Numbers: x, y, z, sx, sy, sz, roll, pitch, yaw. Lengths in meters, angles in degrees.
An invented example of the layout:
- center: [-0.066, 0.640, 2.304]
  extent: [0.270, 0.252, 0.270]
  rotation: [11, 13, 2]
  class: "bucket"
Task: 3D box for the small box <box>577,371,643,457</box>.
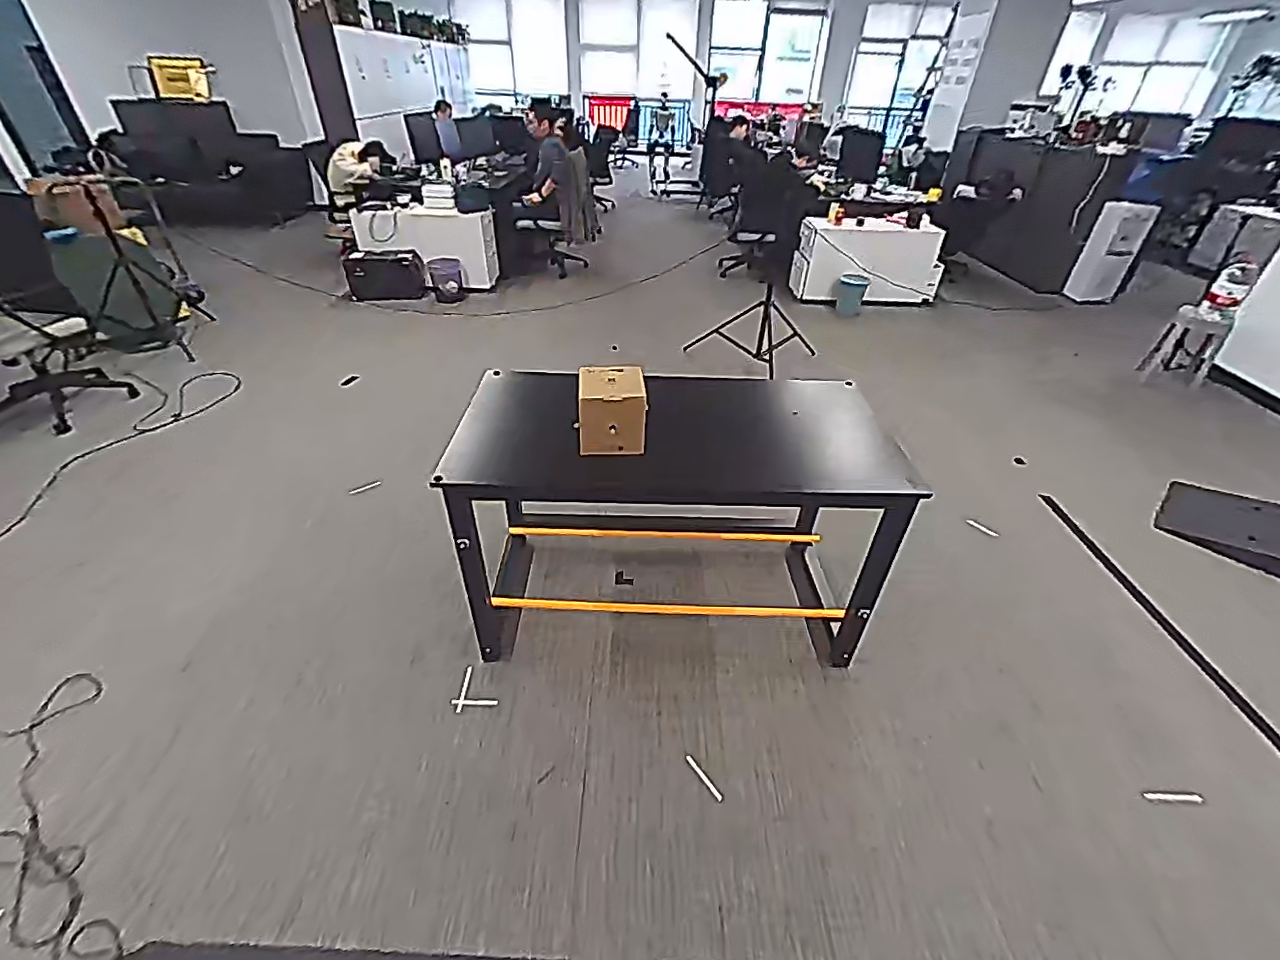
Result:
- center: [-0.078, -0.172, 1.429]
  extent: [0.168, 0.176, 0.179]
  rotation: [-2, 37, -4]
  class: "small box"
